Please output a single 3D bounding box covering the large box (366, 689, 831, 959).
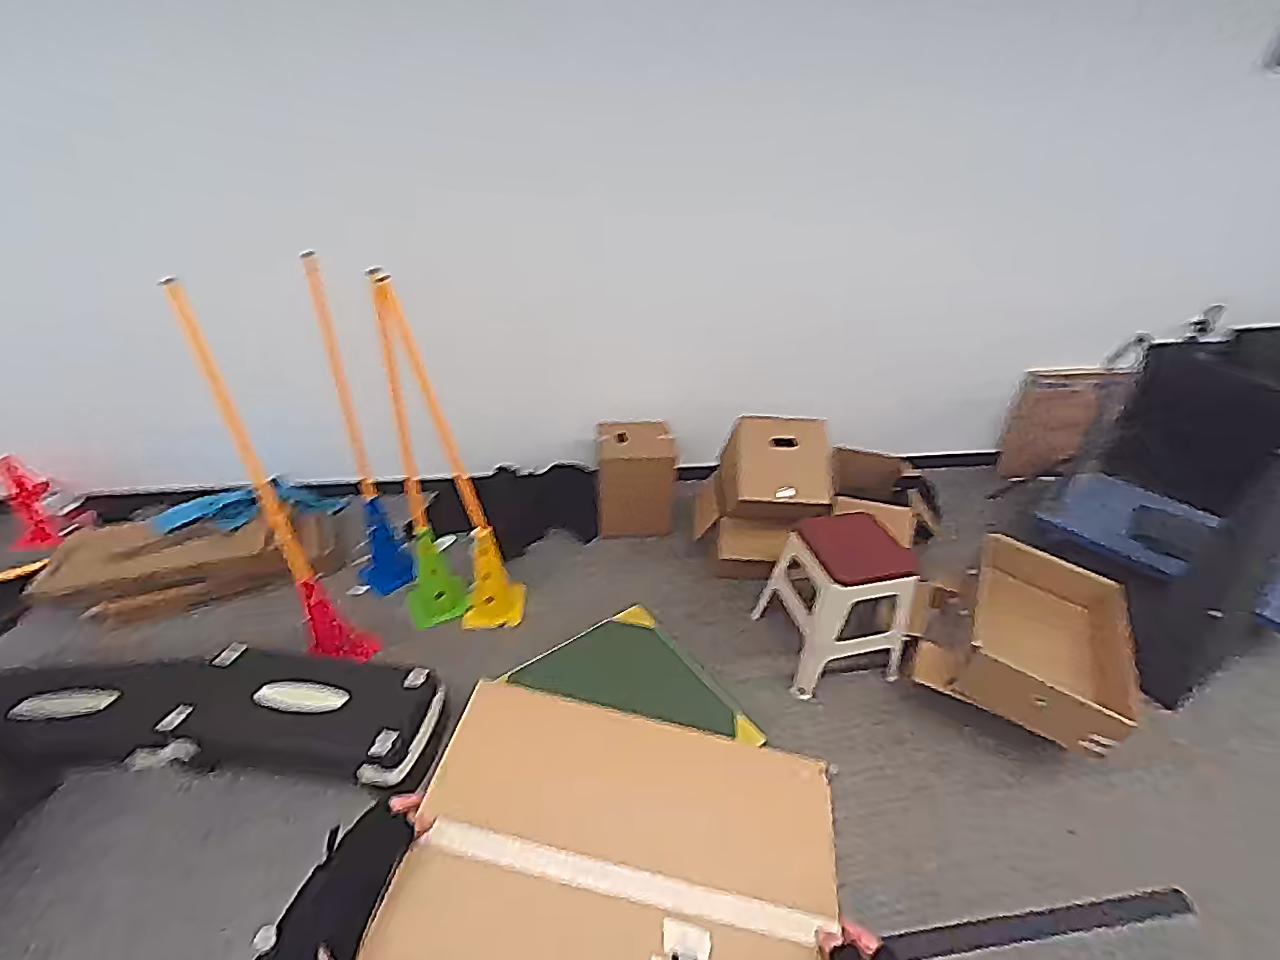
[{"bbox_3d":[-0.037,0.494,0.606,0.408,0.320,0.320,13,41,5],"label":"large box"}]
